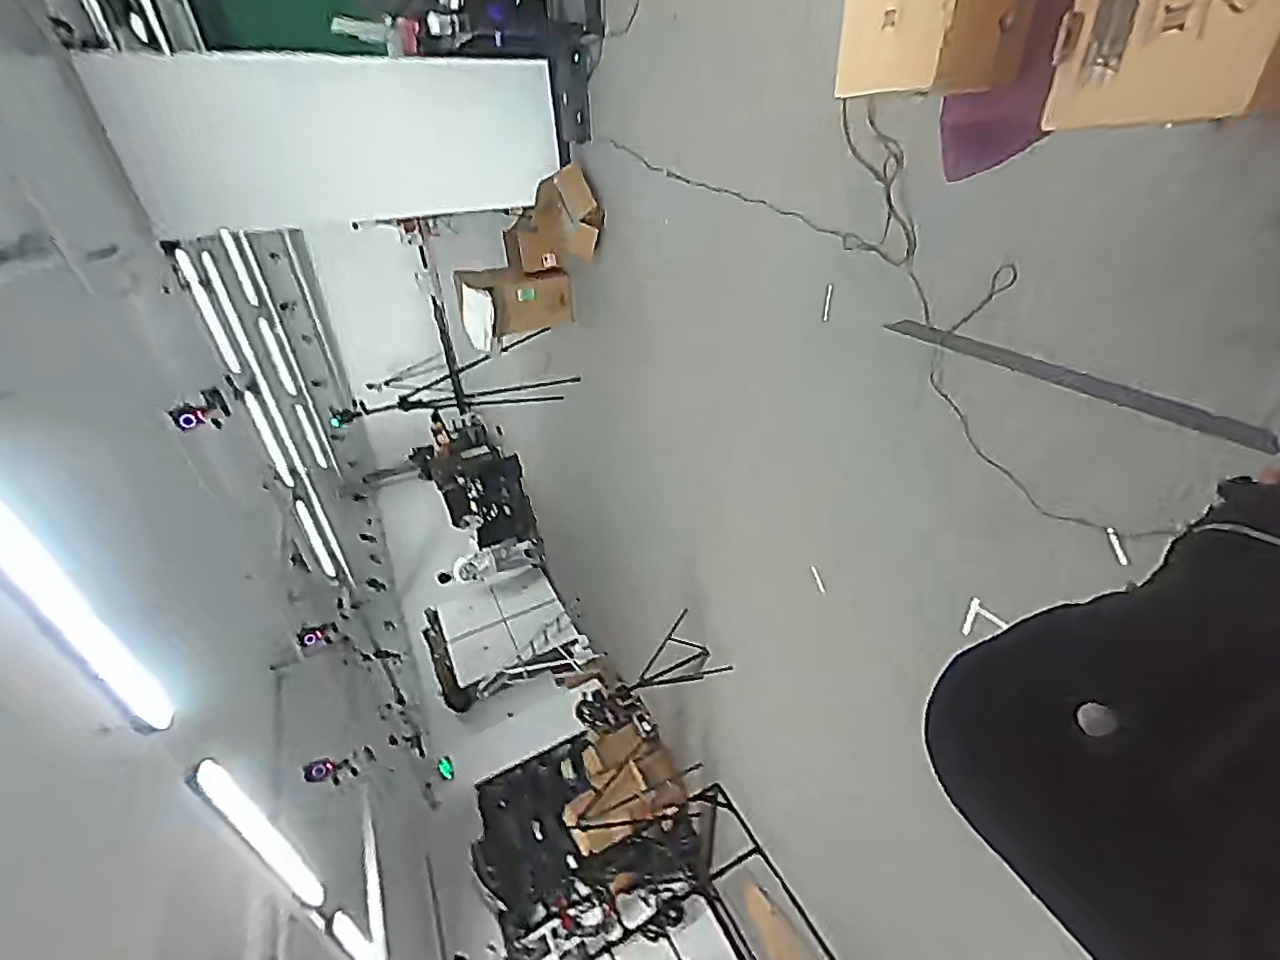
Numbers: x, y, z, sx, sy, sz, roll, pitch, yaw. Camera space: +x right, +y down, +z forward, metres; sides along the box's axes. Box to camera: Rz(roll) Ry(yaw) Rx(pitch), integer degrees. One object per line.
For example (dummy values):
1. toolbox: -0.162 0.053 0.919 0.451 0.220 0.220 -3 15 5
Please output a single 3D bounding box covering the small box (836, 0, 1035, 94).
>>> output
1. small box: 0.407 -0.638 0.745 0.179 0.176 0.168 43 144 49
